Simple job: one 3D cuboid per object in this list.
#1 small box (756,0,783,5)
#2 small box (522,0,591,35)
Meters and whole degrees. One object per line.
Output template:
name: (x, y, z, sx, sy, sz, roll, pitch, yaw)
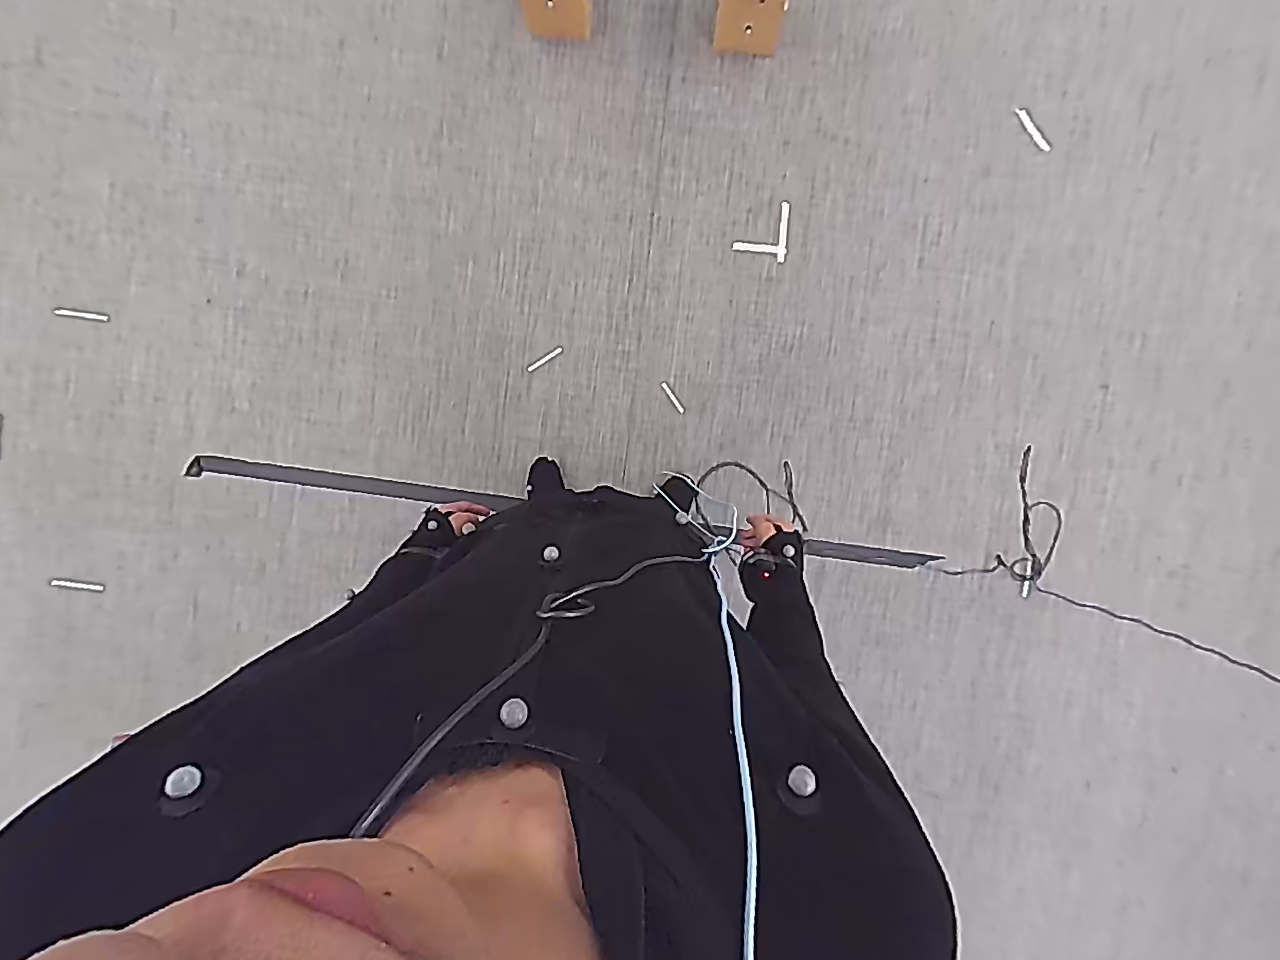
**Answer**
small box: (0.302, -1.315, 1.313, 0.168, 0.176, 0.179, 9, 93, -2)
small box: (-0.222, -1.360, 1.470, 0.179, 0.176, 0.168, 6, 94, 0)
